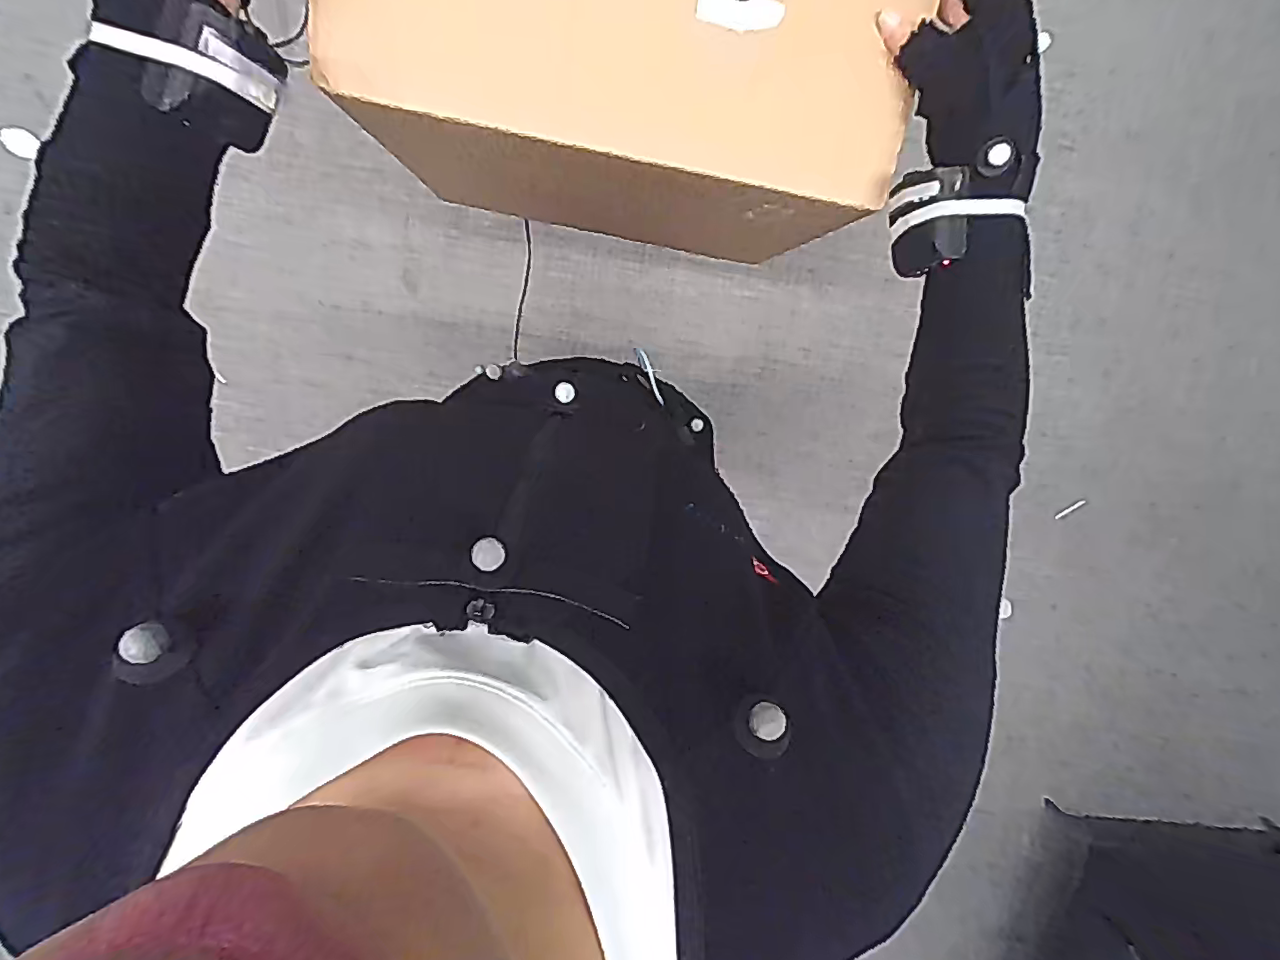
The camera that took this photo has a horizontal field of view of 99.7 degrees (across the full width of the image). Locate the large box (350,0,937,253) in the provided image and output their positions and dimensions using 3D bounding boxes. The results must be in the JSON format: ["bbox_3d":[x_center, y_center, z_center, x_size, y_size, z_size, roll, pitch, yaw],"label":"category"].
[{"bbox_3d":[0.003,-0.424,0.497,0.408,0.320,0.320,8,105,-9],"label":"large box"}]
